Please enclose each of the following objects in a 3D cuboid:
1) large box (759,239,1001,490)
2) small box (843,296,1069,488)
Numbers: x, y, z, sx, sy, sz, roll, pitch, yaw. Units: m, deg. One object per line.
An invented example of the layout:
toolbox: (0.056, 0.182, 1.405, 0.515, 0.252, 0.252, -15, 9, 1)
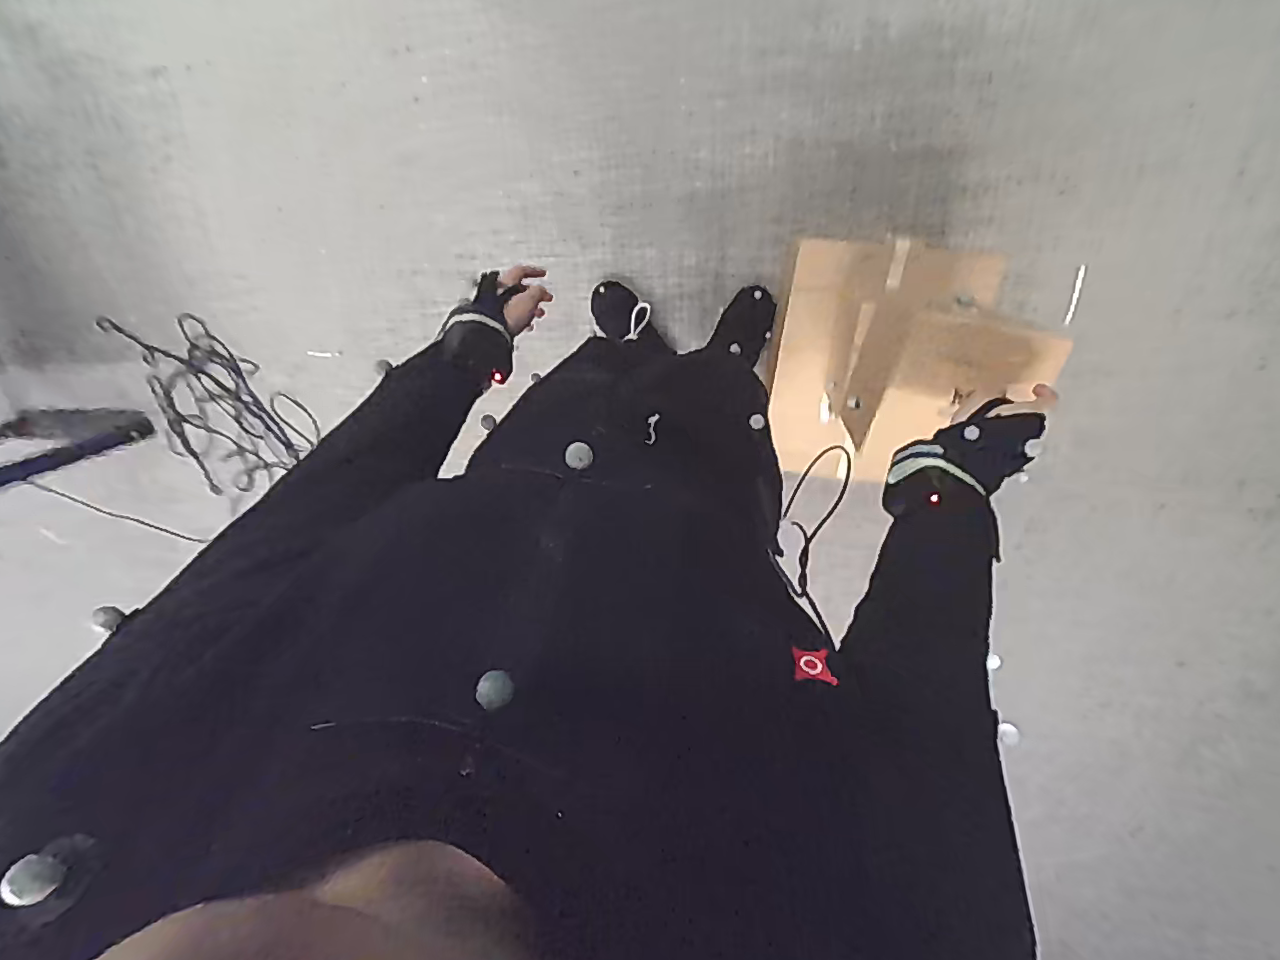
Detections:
large box: (0.420, -0.243, 1.063, 0.320, 0.320, 0.408, 9, 117, 8)
small box: (0.368, -0.117, 0.675, 0.168, 0.176, 0.179, 12, 116, 4)
